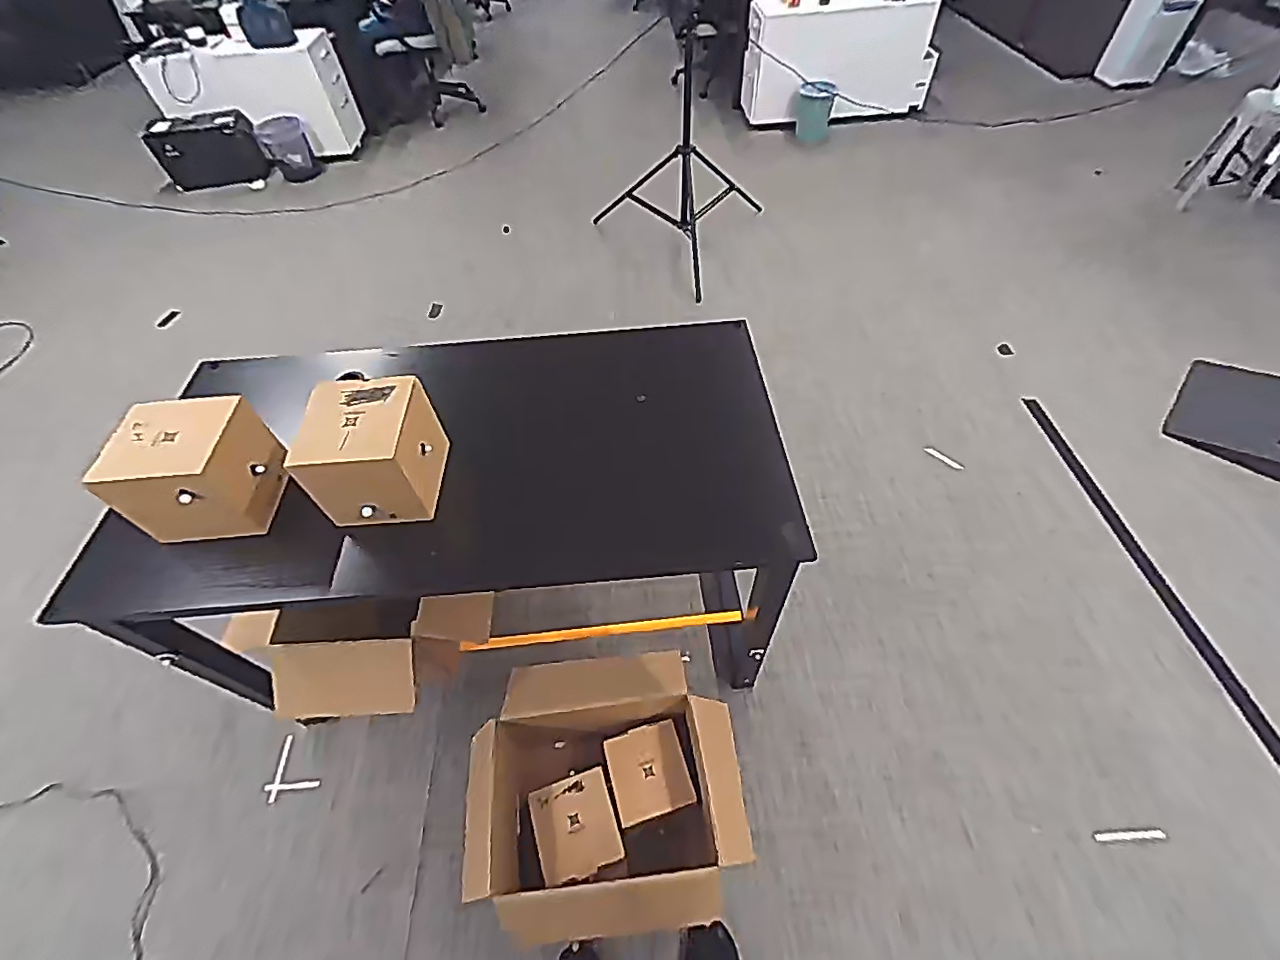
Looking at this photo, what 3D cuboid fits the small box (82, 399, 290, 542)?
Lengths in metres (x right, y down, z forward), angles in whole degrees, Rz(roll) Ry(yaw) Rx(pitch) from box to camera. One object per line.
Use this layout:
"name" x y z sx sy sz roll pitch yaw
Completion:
"small box" -0.724 -0.012 0.893 0.179 0.176 0.168 -5 52 -1

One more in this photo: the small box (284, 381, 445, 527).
"small box" -0.441 -0.041 0.903 0.168 0.176 0.179 -4 53 0
